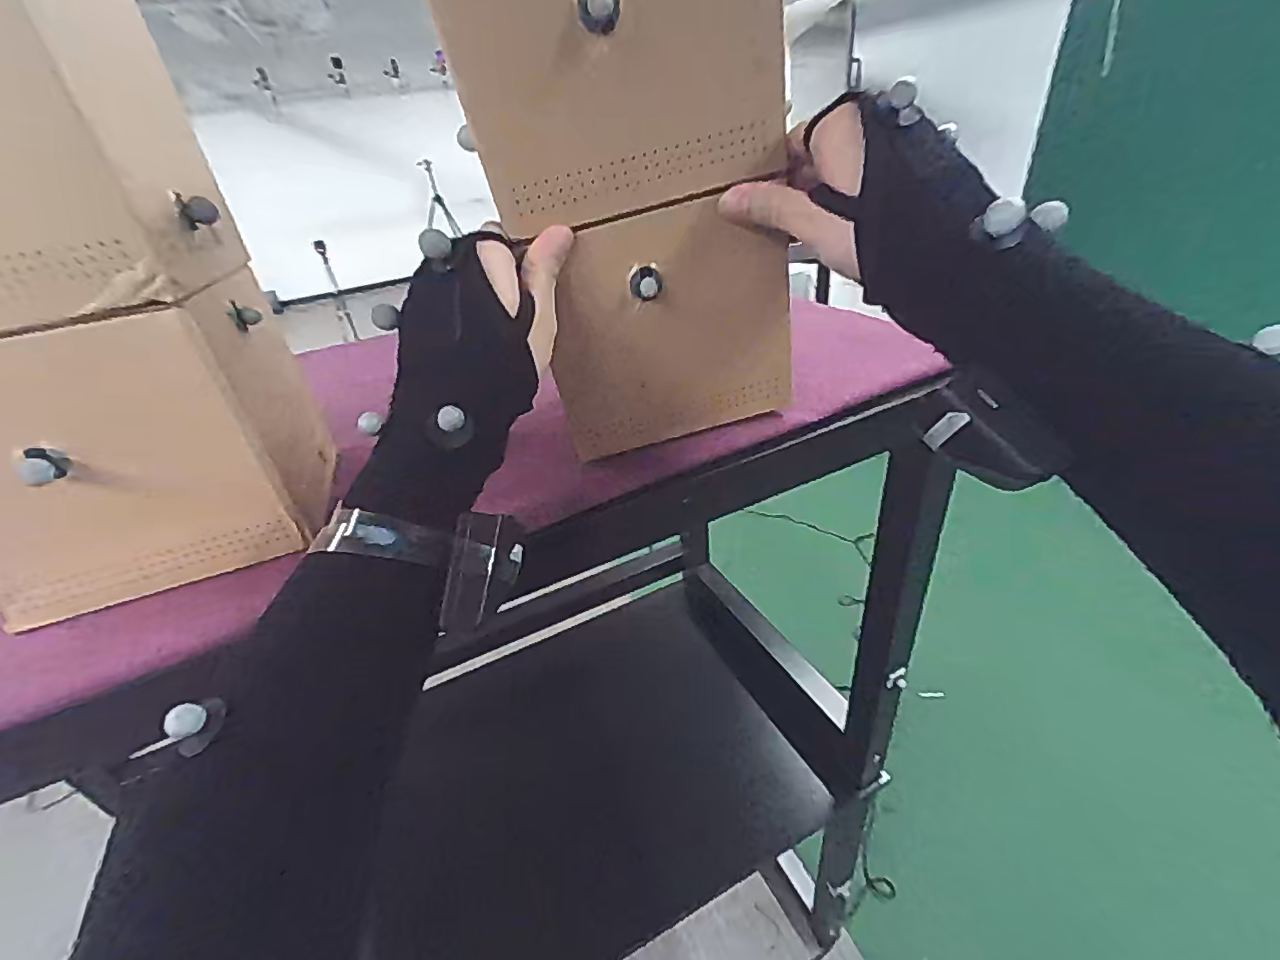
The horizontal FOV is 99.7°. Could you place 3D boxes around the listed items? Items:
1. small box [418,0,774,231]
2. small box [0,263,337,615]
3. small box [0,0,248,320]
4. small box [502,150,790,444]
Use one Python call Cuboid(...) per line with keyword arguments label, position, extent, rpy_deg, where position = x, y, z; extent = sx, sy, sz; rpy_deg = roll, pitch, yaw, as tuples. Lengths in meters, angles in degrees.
Cuboid(label="small box", position=(-0.026, -0.274, 0.328), extent=(0.179, 0.176, 0.168), rpy_deg=(-16, 38, 1))
Cuboid(label="small box", position=(-0.341, -0.039, 0.370), extent=(0.179, 0.176, 0.168), rpy_deg=(-18, 33, -15))
Cuboid(label="small box", position=(-0.358, -0.177, 0.285), extent=(0.179, 0.176, 0.168), rpy_deg=(-16, 33, -14))
Cuboid(label="small box", position=(0.007, -0.150, 0.431), extent=(0.179, 0.176, 0.168), rpy_deg=(-15, 39, 0))
